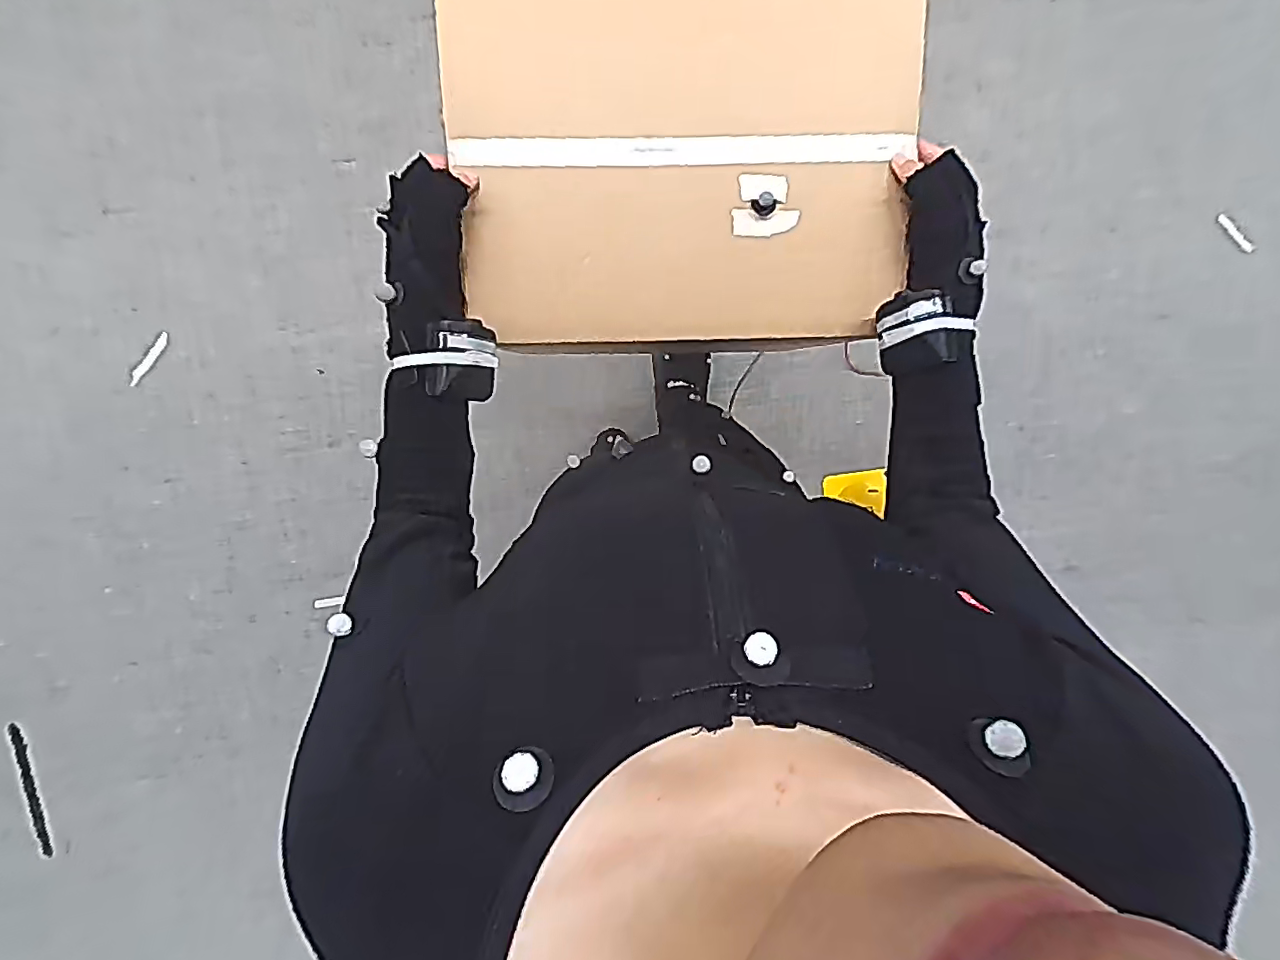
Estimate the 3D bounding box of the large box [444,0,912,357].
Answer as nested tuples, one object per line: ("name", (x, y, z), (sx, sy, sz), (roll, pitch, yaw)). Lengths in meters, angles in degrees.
("large box", (0.031, -0.314, 0.620), (0.408, 0.320, 0.320), (-2, 101, -3))
